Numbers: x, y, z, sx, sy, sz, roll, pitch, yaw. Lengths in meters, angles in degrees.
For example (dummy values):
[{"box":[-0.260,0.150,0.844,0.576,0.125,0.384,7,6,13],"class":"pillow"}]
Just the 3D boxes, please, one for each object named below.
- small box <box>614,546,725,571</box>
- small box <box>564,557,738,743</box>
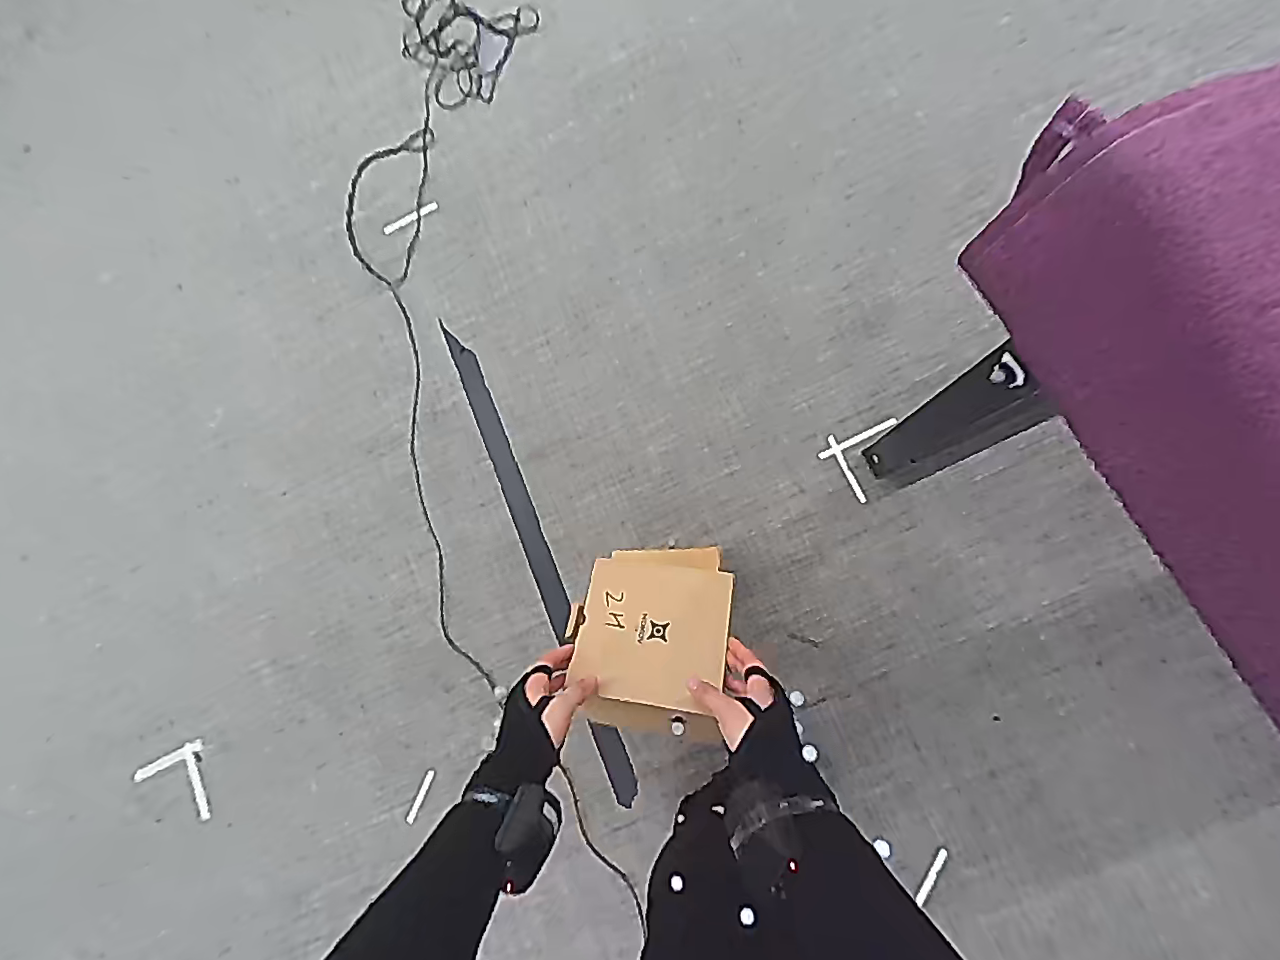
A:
[{"box":[0.059,0.202,0.938,0.179,0.176,0.168,-4,82,9],"class":"small box"},{"box":[0.026,0.216,0.674,0.179,0.176,0.168,4,53,12],"class":"small box"}]
